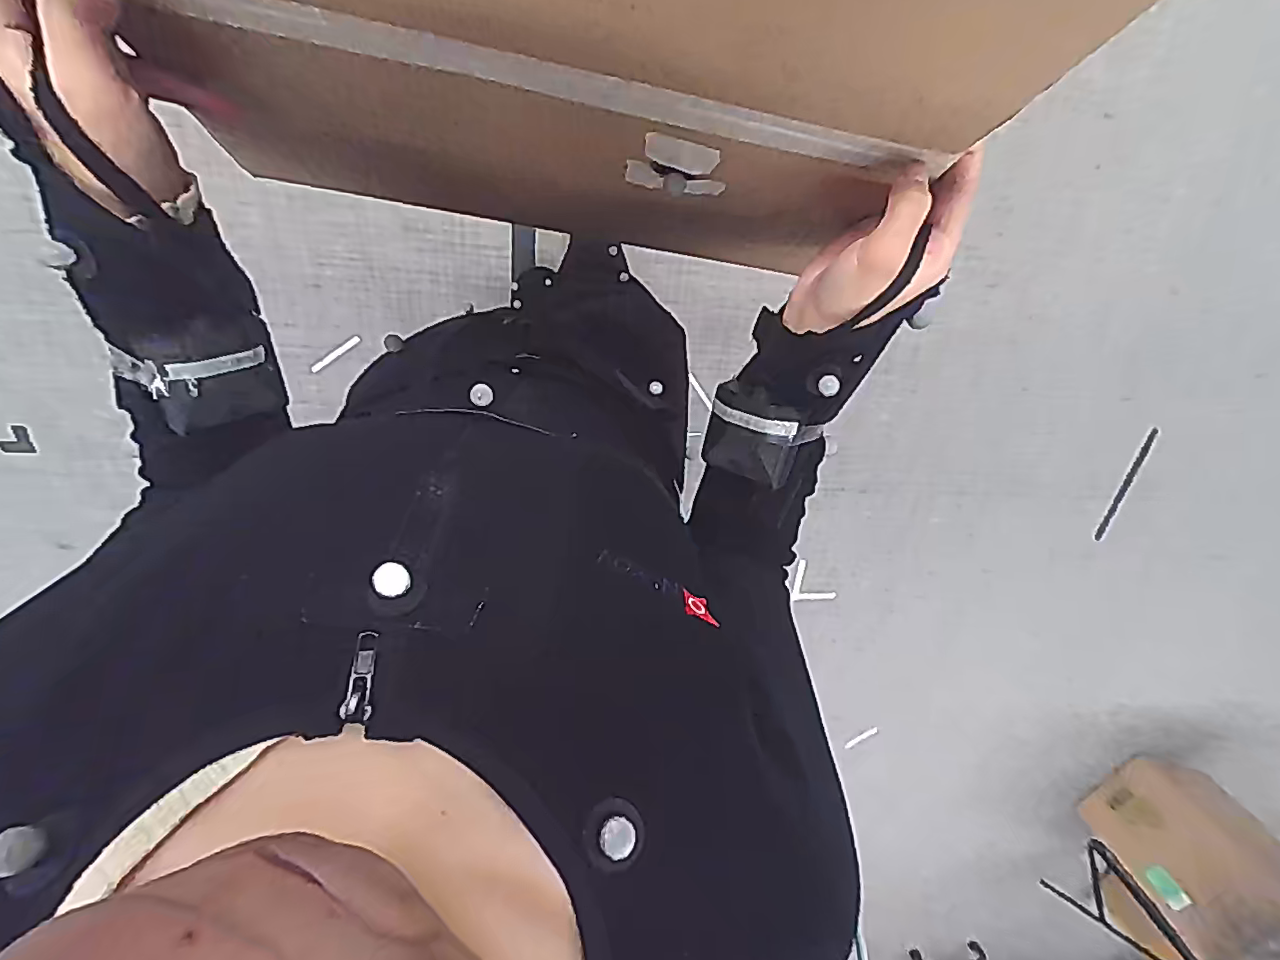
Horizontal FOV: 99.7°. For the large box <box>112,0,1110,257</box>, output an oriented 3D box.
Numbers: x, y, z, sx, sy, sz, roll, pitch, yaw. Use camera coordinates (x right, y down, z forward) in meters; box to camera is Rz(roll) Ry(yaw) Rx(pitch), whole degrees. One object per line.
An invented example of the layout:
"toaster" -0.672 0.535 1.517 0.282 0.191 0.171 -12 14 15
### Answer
"large box" -0.023 -0.346 0.254 0.408 0.320 0.320 5 90 -10
